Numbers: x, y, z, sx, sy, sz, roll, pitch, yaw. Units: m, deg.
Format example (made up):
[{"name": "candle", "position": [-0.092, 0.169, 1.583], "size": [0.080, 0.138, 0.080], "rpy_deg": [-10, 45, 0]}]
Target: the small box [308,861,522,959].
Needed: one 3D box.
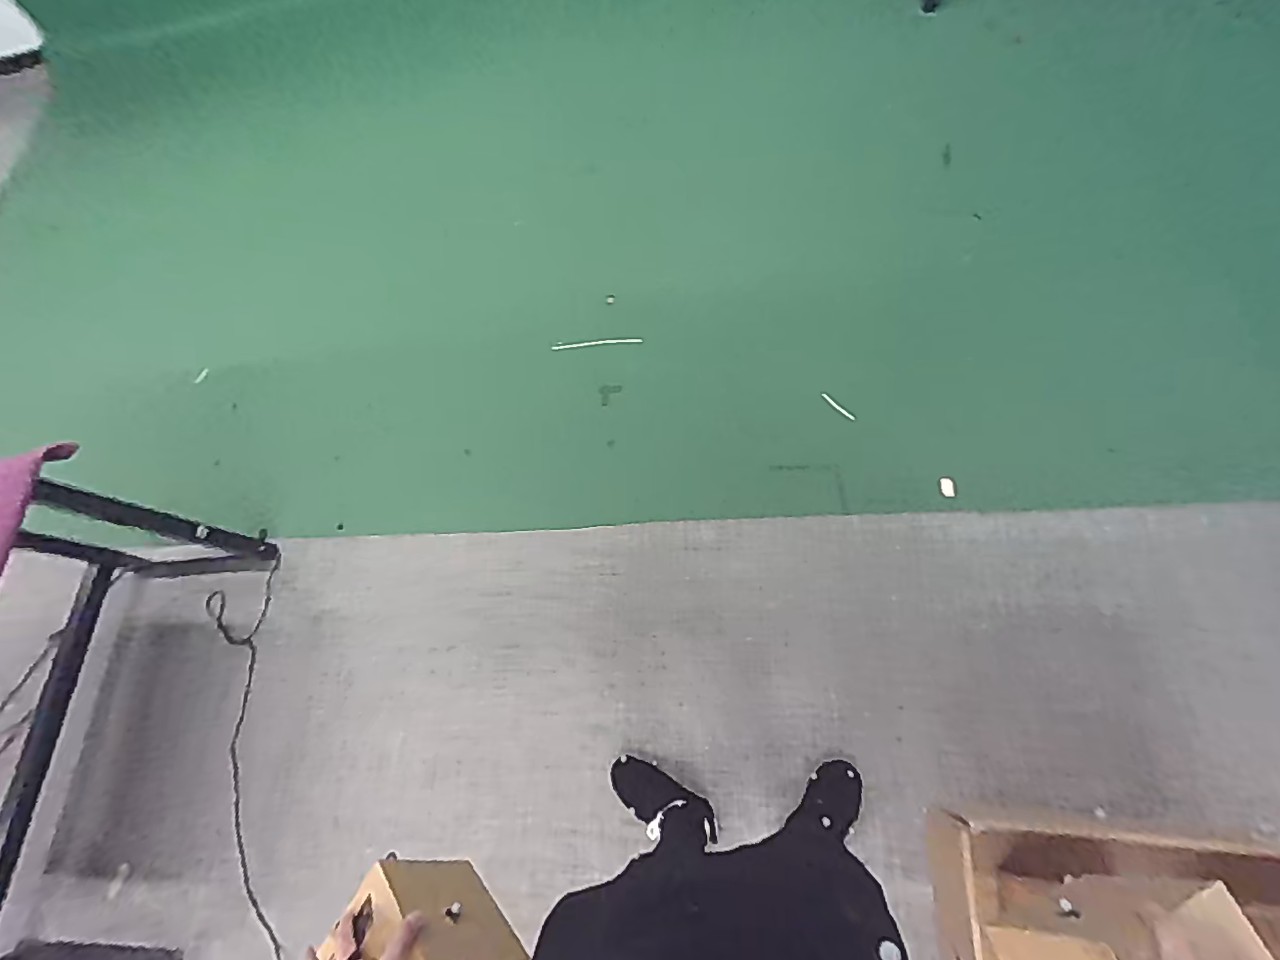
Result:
[{"name": "small box", "position": [-0.283, 0.614, 0.668], "size": [0.179, 0.176, 0.168], "rpy_deg": [22, 73, 41]}]

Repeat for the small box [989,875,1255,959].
[{"name": "small box", "position": [0.511, 0.536, 0.564], "size": [0.179, 0.176, 0.168], "rpy_deg": [-6, 58, -19]}]
